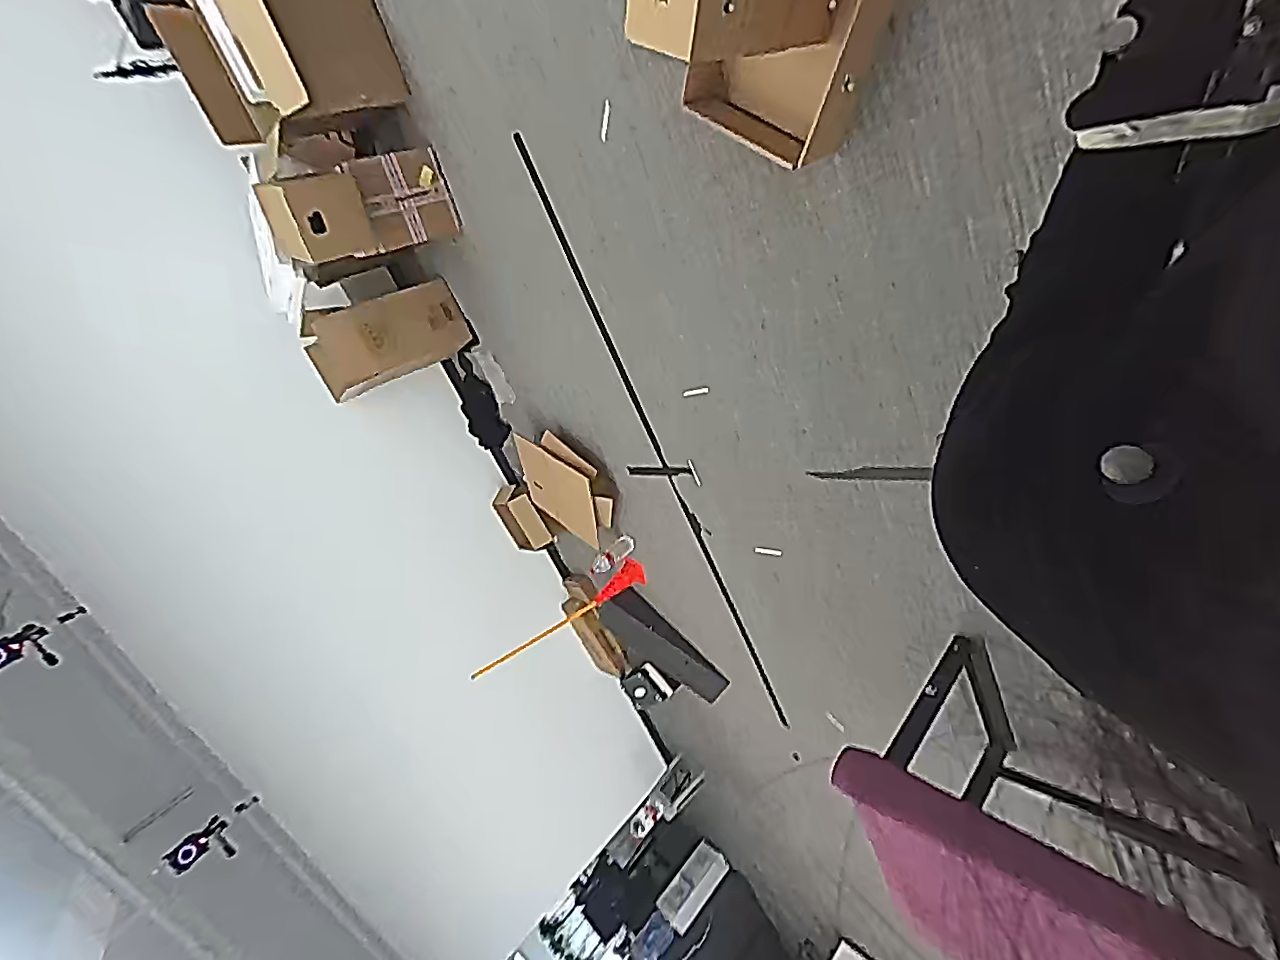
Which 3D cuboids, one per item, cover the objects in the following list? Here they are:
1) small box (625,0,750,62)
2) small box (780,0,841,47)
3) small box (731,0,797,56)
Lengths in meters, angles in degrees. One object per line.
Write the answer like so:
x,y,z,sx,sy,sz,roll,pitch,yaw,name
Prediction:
0.097,-0.907,1.002,0.179,0.176,0.168,39,145,23,small box
0.326,-1.072,1.167,0.179,0.176,0.168,41,148,19,small box
0.210,-0.988,1.092,0.179,0.176,0.168,41,146,24,small box
